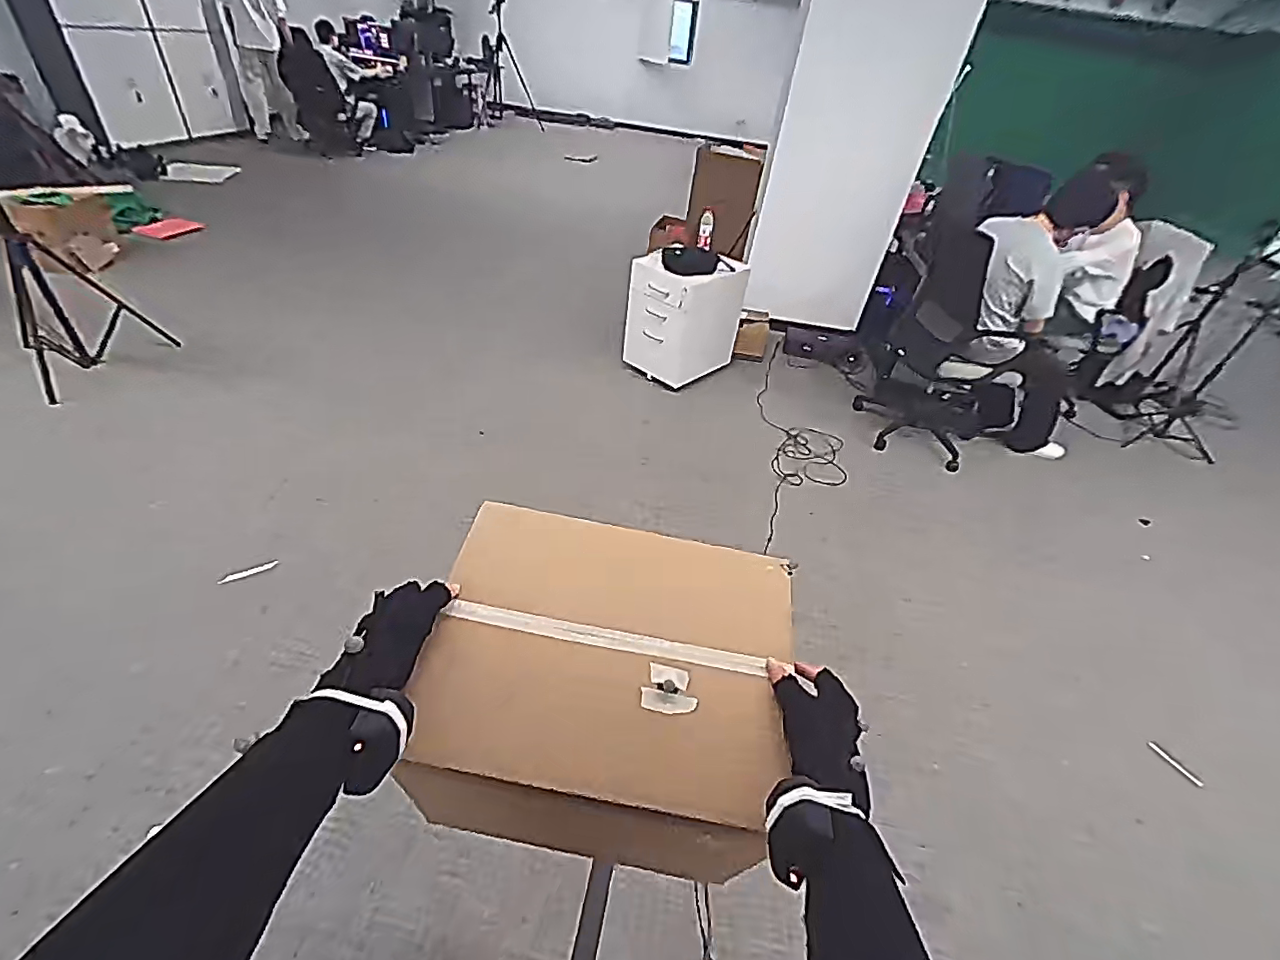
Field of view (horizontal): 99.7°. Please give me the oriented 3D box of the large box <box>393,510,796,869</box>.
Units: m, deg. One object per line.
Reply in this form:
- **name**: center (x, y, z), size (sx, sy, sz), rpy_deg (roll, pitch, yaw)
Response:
- **large box**: center (-0.044, 0.283, 0.725), size (0.408, 0.320, 0.320), rpy_deg (11, 48, 1)
